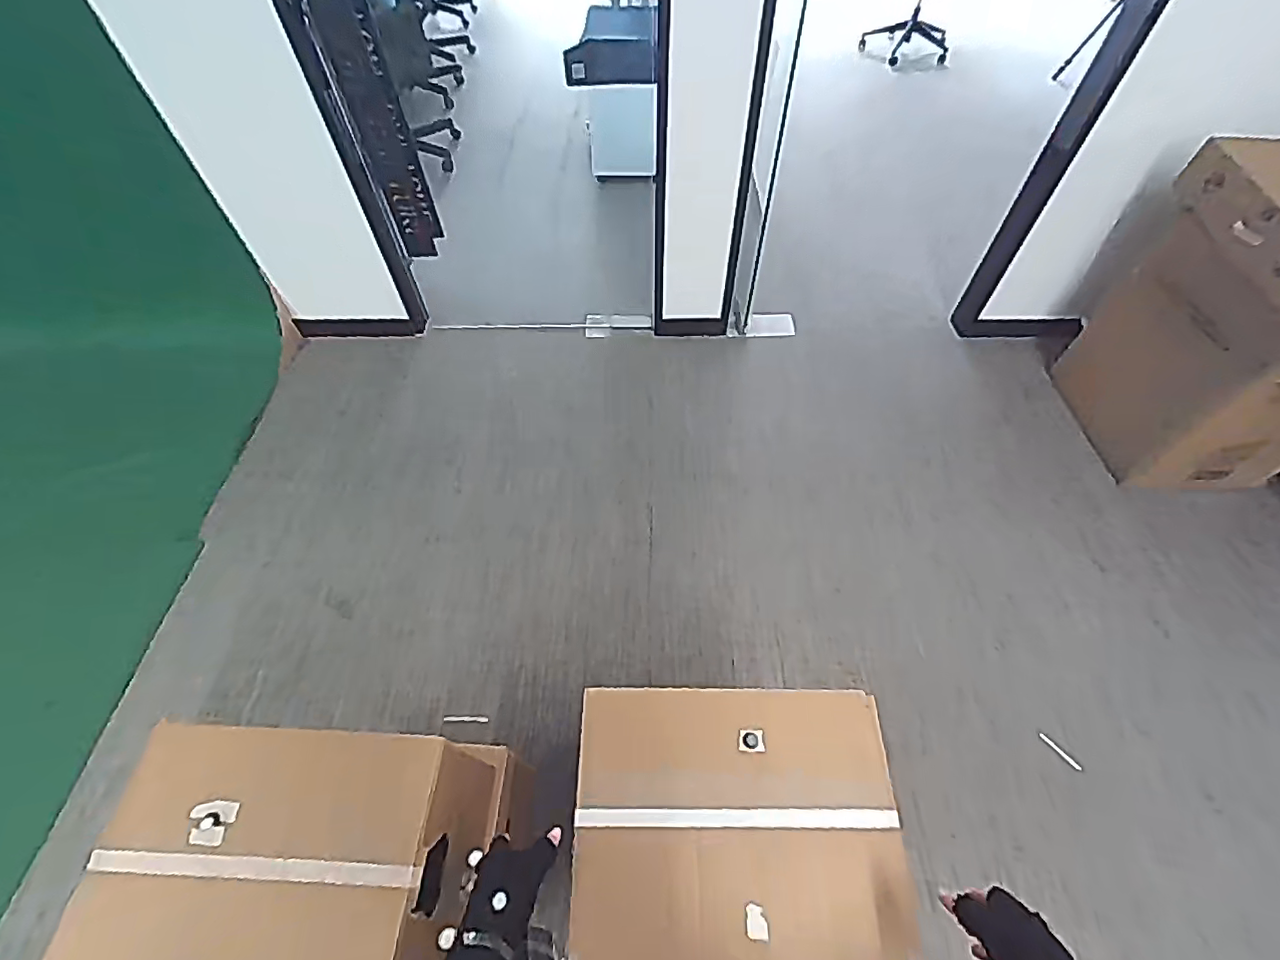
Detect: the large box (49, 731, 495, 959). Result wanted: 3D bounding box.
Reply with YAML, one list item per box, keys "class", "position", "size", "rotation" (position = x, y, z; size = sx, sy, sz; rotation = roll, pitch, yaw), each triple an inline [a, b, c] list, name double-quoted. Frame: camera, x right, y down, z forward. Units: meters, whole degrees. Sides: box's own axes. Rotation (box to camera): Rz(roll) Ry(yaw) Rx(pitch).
- class: "large box"
  position: [-0.463, 0.557, 0.776]
  size: [0.408, 0.320, 0.320]
  rotation: [2, 56, 3]
